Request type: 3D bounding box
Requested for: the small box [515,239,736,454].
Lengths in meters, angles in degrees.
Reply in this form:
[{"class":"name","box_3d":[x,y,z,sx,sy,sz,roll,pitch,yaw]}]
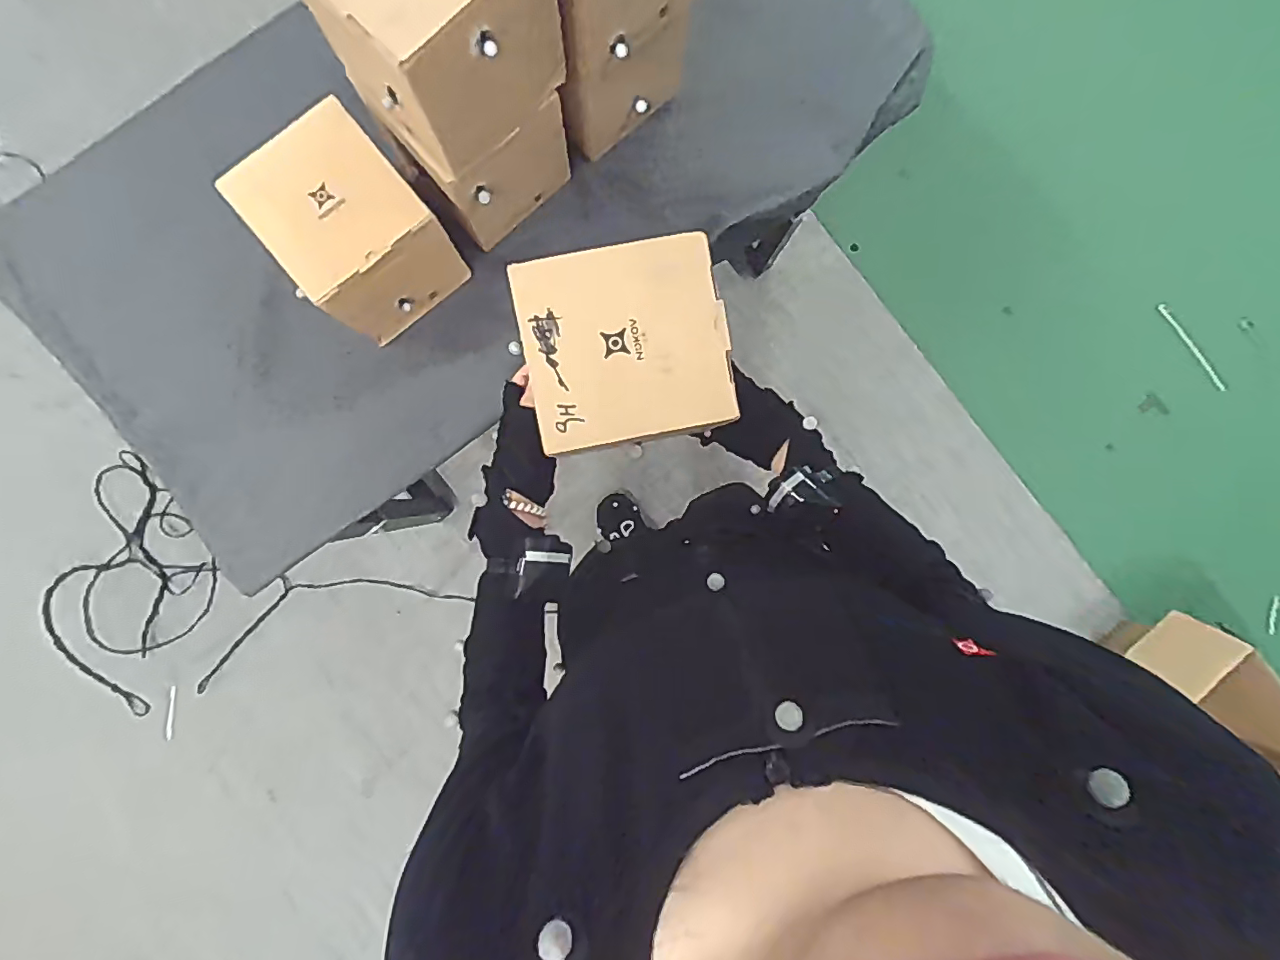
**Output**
[{"class":"small box","box_3d":[-0.017,-0.121,0.551,0.179,0.176,0.168,-10,91,-4]}]
